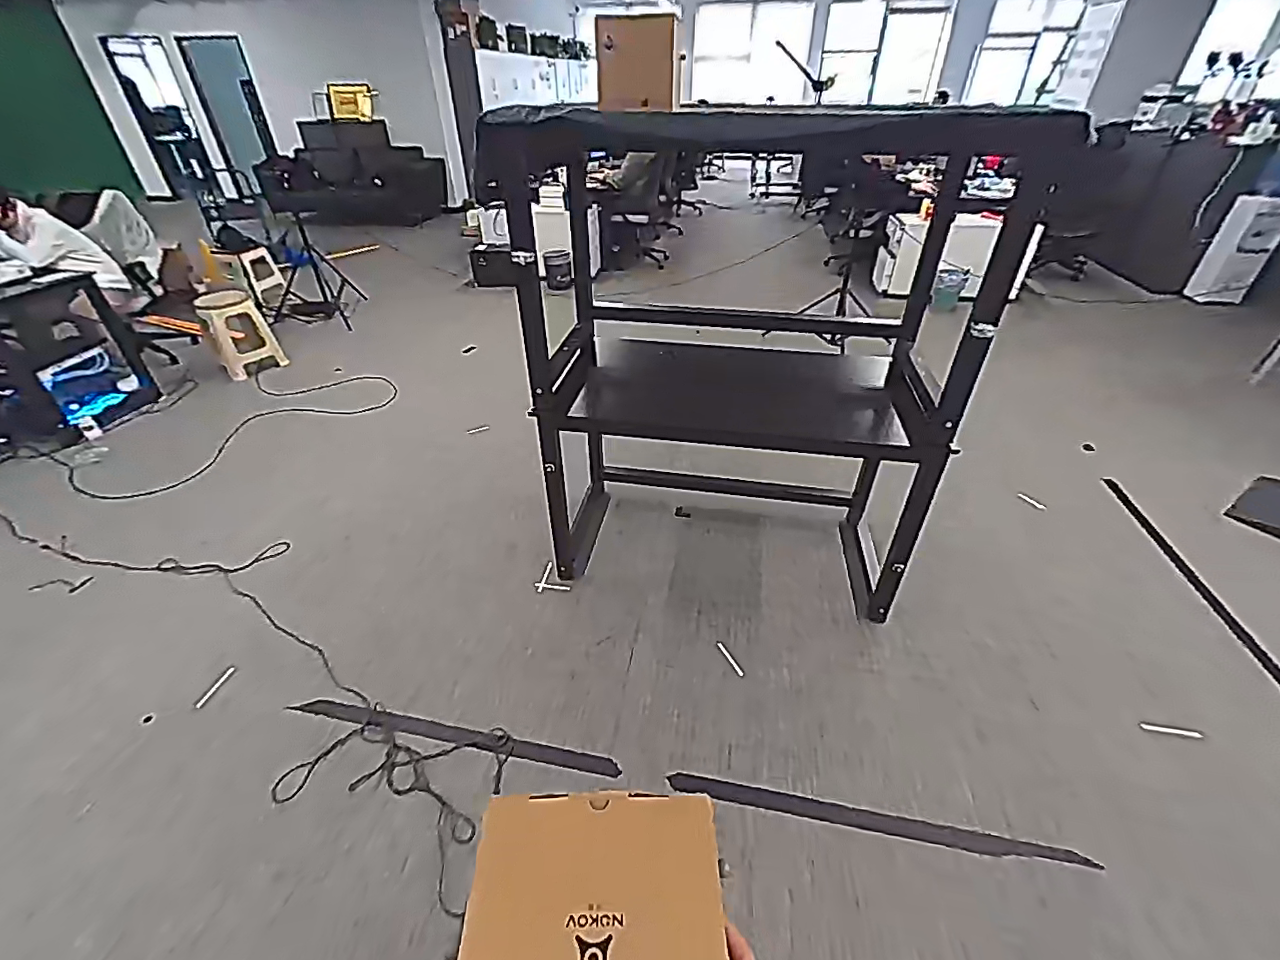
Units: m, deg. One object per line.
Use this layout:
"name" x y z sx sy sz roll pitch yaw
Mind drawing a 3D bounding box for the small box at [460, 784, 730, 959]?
"small box" -0.029 0.342 0.382 0.168 0.176 0.179 1 39 -3
